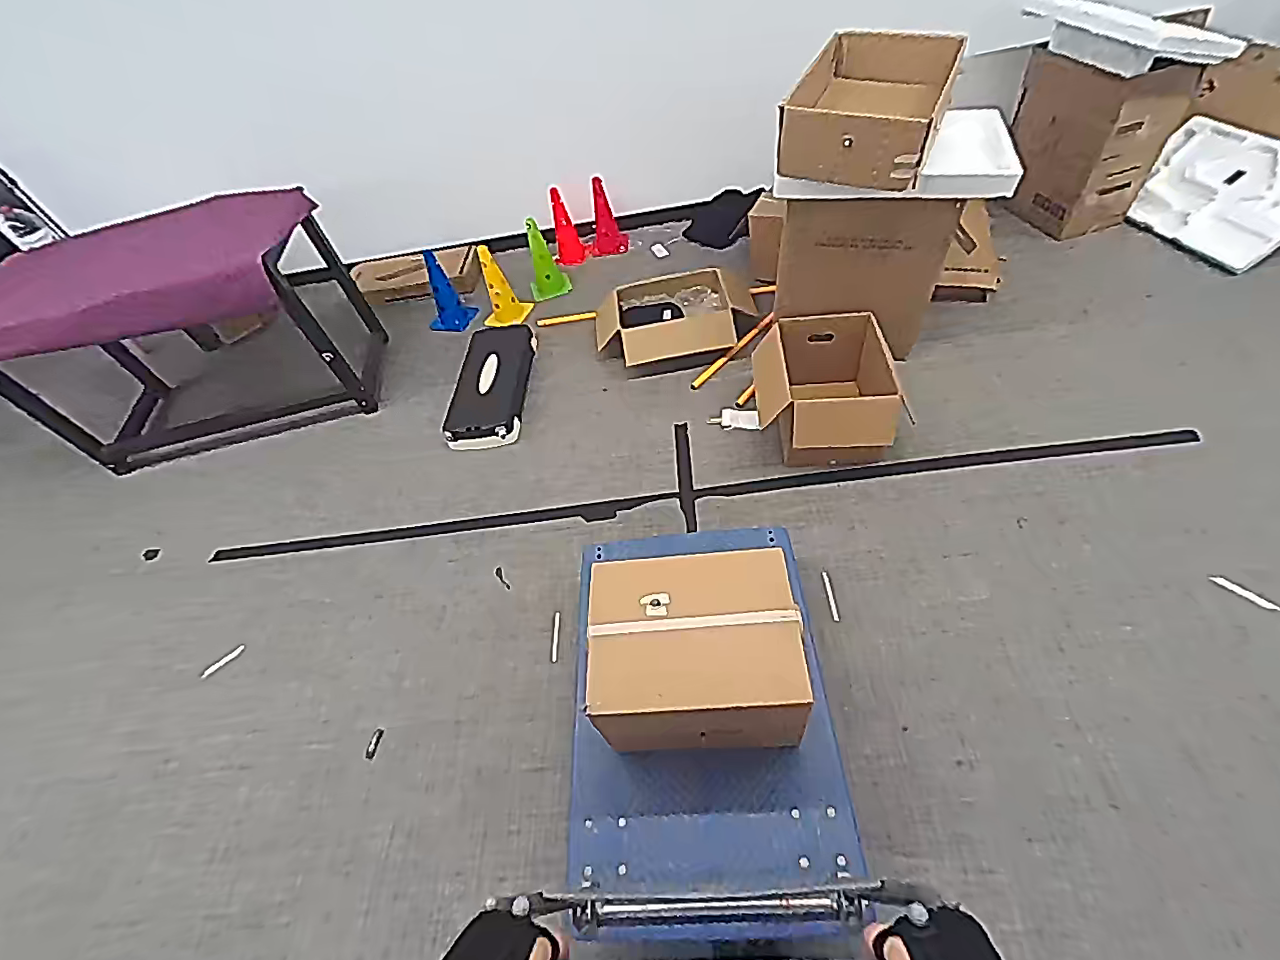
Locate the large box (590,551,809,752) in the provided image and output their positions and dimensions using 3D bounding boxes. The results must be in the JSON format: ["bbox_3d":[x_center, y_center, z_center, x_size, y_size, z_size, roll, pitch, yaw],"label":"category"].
[{"bbox_3d":[0.123,0.384,1.178,0.408,0.320,0.320,-7,50,7],"label":"large box"}]
